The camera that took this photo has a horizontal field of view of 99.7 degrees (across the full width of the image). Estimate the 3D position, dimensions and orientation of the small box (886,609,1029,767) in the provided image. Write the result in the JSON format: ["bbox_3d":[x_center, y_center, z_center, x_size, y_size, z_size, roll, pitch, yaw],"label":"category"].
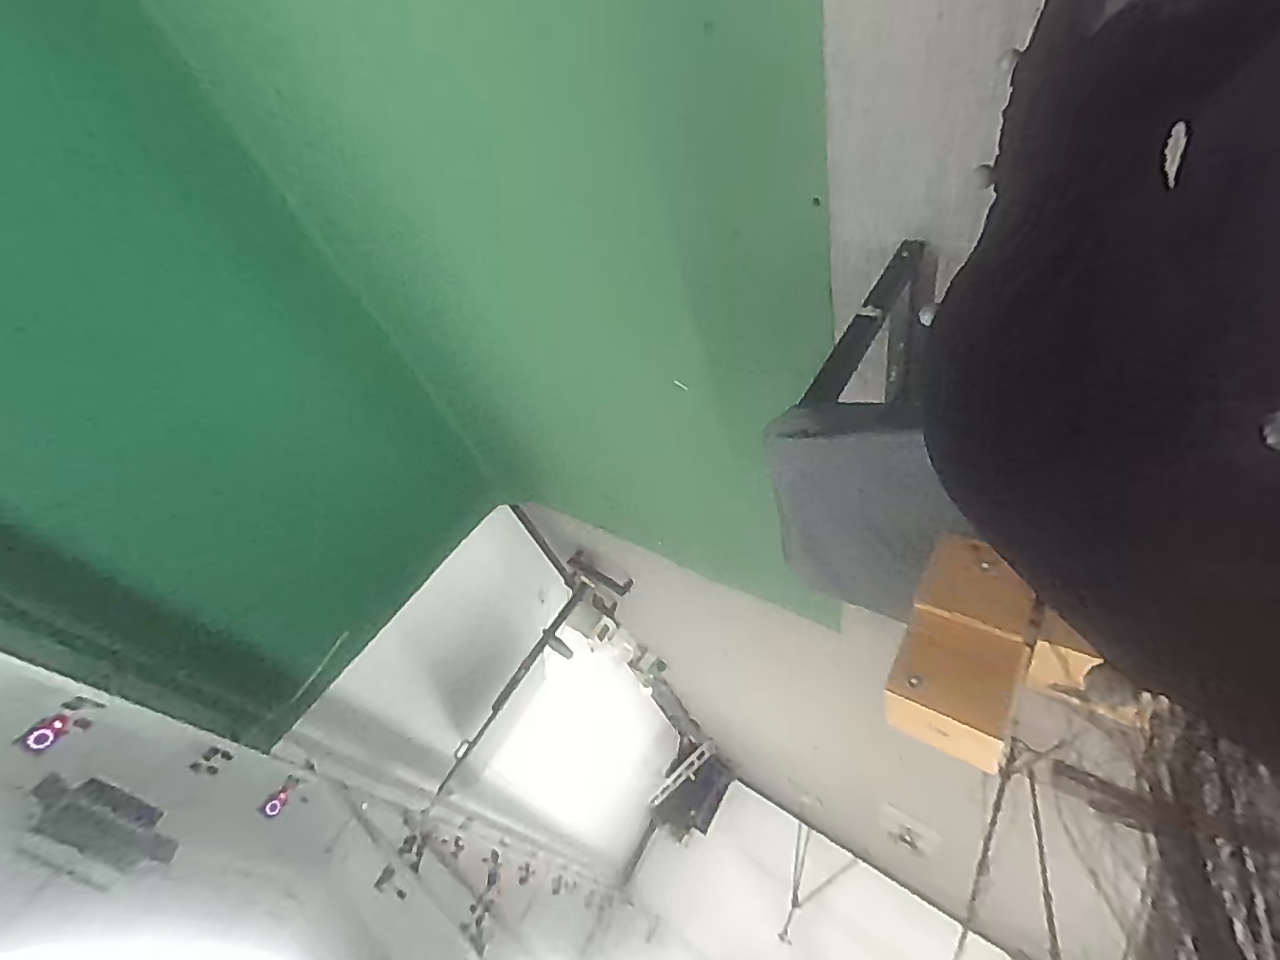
[{"bbox_3d":[0.541,0.348,0.926,0.179,0.176,0.168,16,147,37],"label":"small box"}]
